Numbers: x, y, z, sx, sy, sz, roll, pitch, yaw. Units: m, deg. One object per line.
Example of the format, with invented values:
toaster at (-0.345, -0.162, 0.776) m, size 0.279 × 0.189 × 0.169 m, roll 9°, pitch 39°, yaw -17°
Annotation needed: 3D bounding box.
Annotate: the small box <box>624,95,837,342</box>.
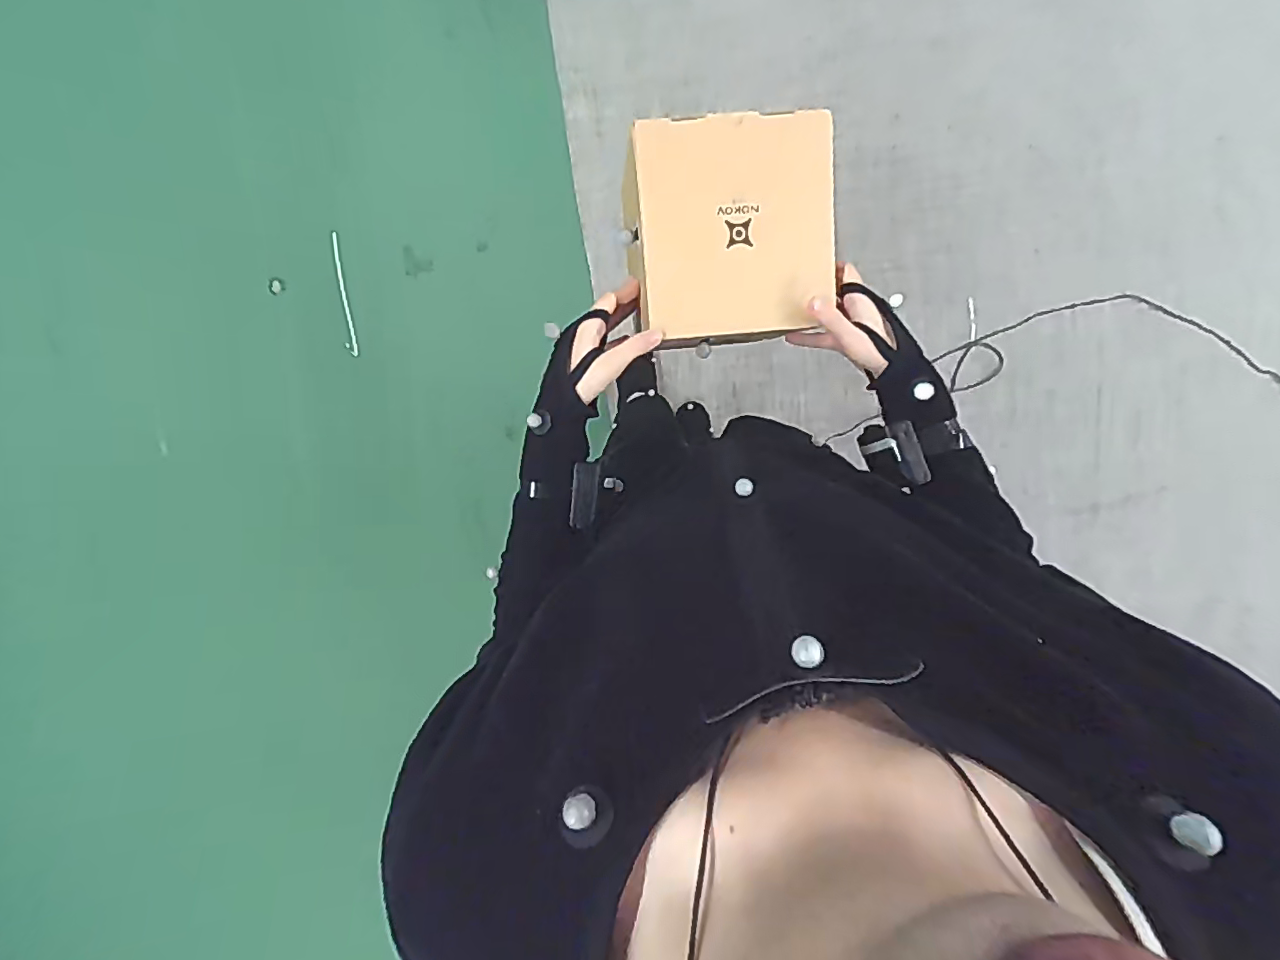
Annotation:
small box at (0.075, -0.230, 0.521) m, size 0.168 × 0.176 × 0.179 m, roll -6°, pitch 99°, yaw -4°
